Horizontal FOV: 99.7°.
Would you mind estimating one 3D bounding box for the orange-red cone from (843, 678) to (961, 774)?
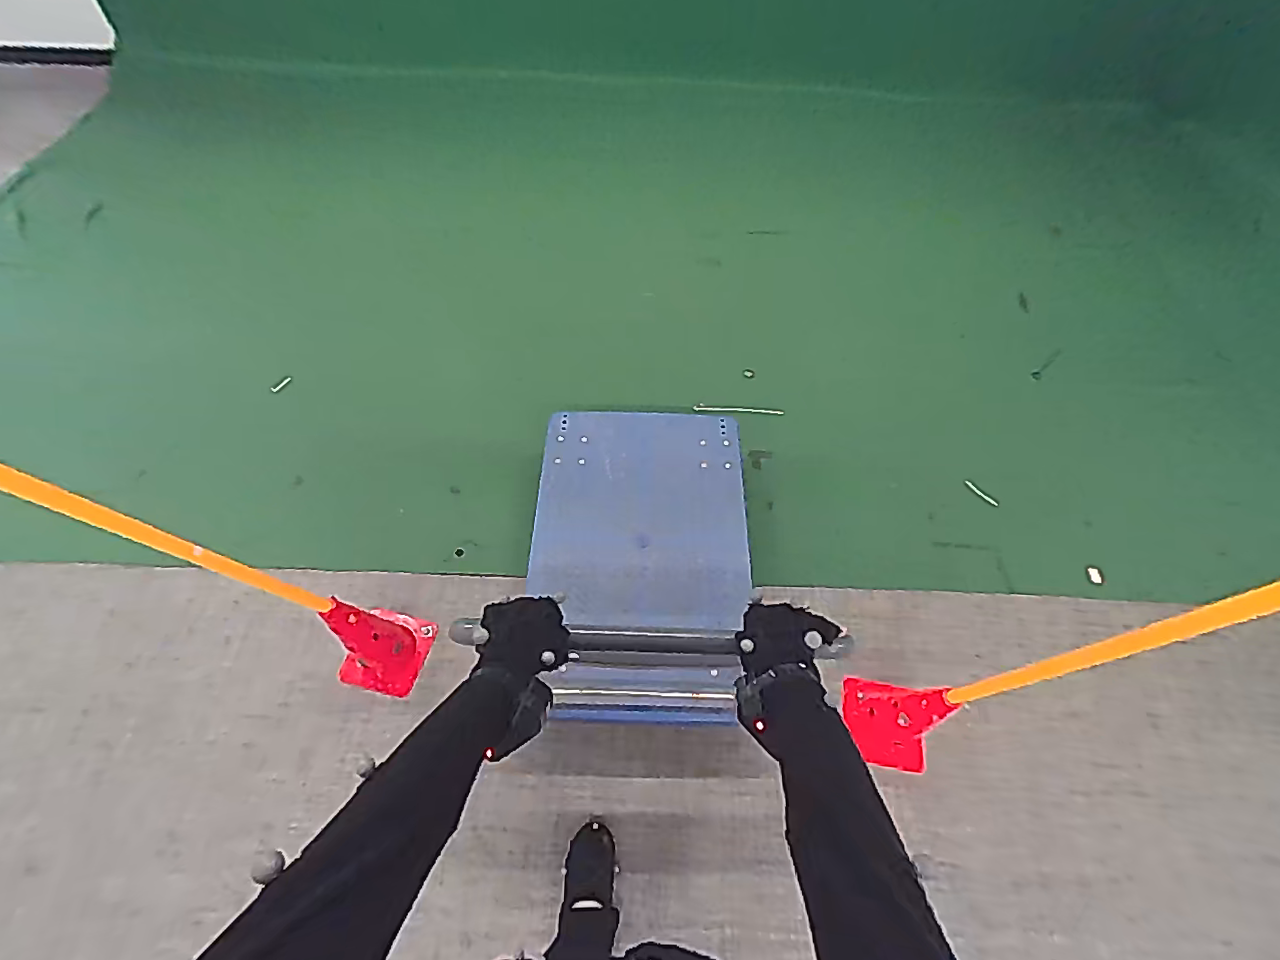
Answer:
[{"bbox_3d":[0.617,0.524,1.219,0.198,0.360,0.199,11,59,6],"label":"orange-red cone"}]
